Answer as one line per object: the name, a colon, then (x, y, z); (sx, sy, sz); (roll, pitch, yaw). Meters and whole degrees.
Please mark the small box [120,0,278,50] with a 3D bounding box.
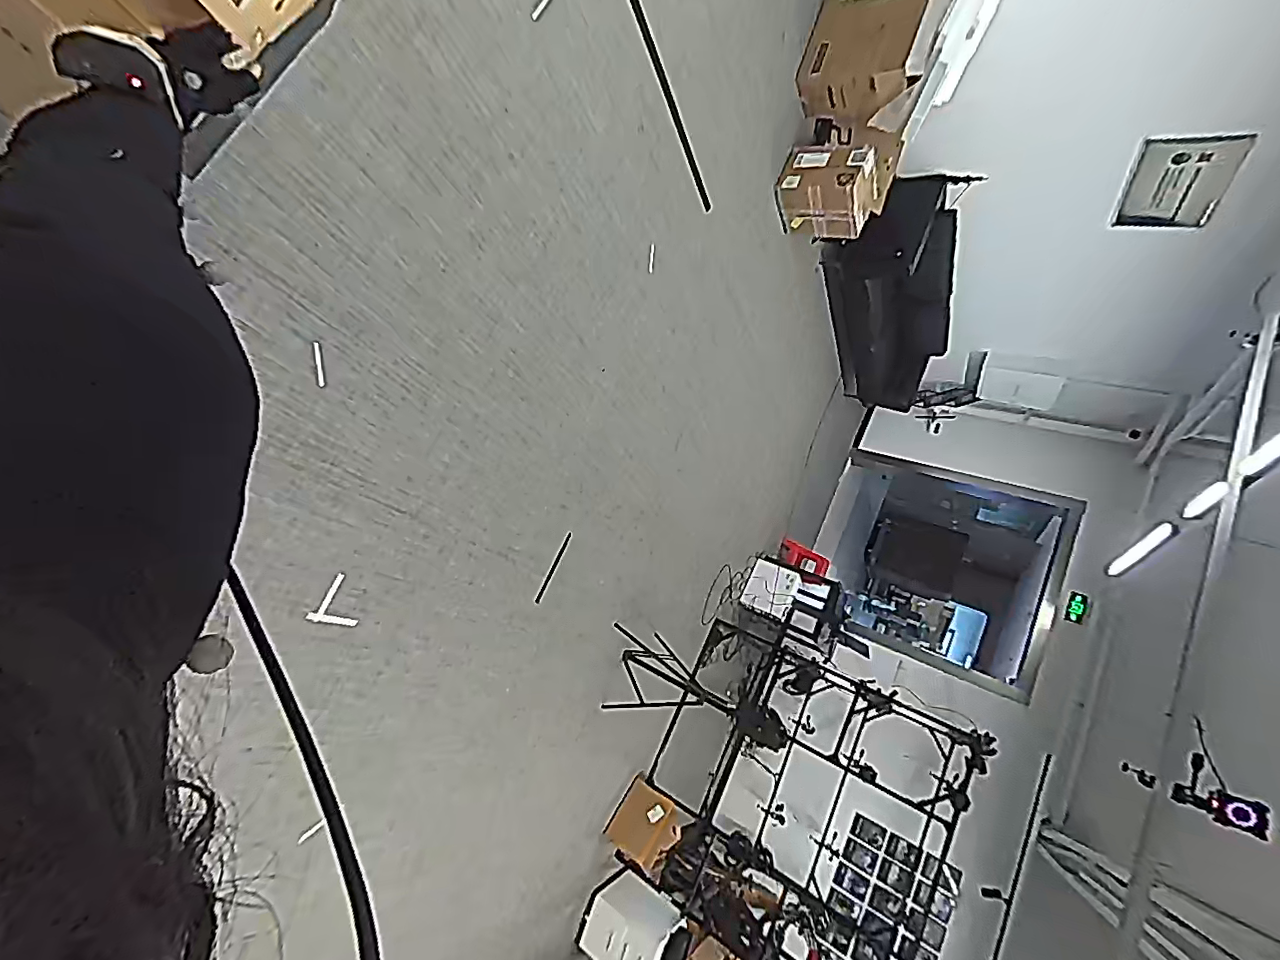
small box: (-0.480, -0.584, 0.555); (0.168, 0.176, 0.179); (-62, 146, -14)
